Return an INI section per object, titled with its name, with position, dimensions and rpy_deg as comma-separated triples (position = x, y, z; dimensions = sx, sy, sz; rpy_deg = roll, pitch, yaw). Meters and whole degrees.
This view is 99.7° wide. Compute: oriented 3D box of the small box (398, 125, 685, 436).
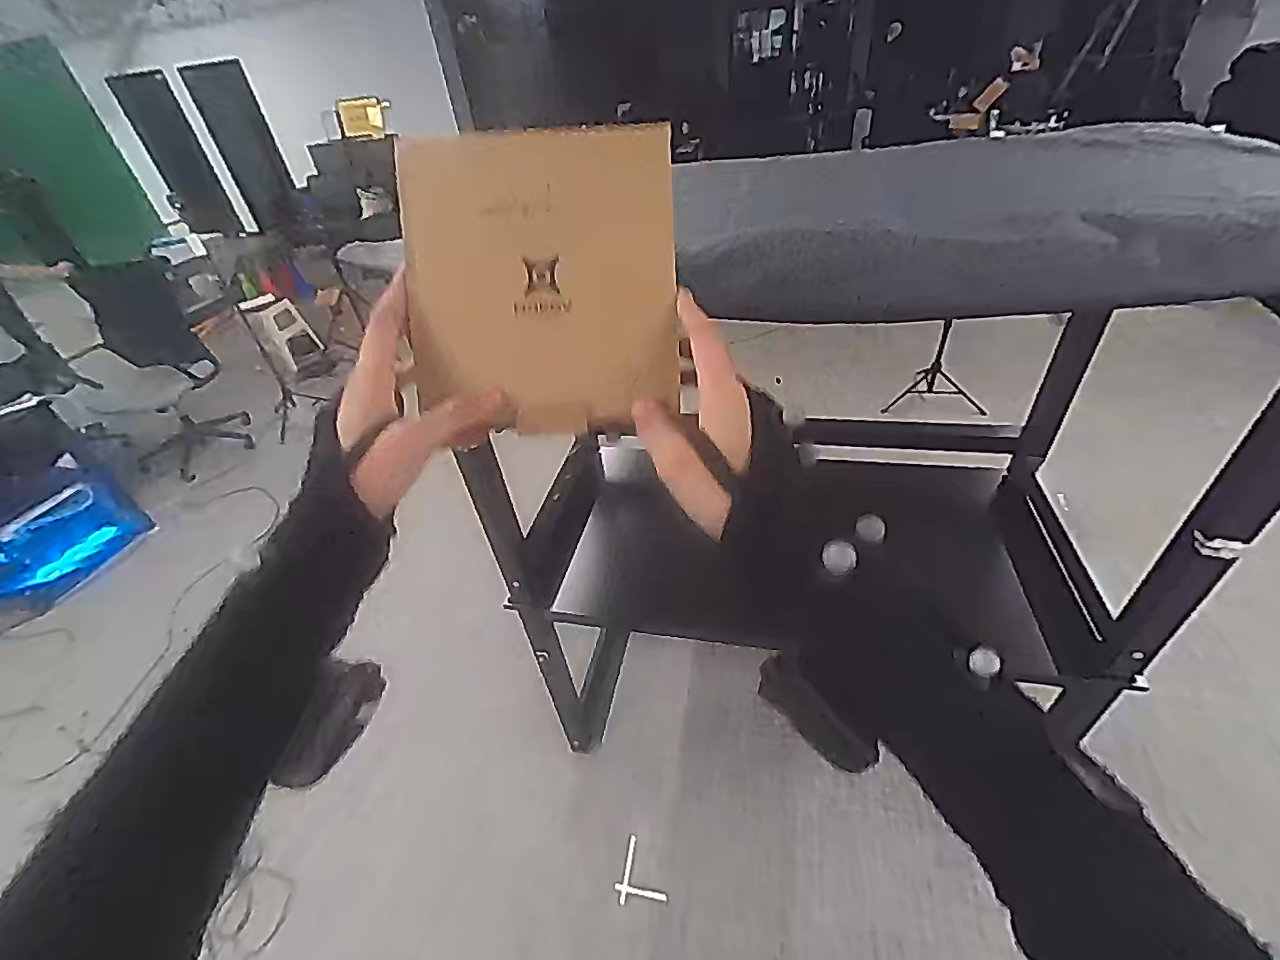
[small box]
position = -0.057, -0.128, 0.404
dimensions = 0.168, 0.179, 0.176
rpy_deg = -3, 7, -2
